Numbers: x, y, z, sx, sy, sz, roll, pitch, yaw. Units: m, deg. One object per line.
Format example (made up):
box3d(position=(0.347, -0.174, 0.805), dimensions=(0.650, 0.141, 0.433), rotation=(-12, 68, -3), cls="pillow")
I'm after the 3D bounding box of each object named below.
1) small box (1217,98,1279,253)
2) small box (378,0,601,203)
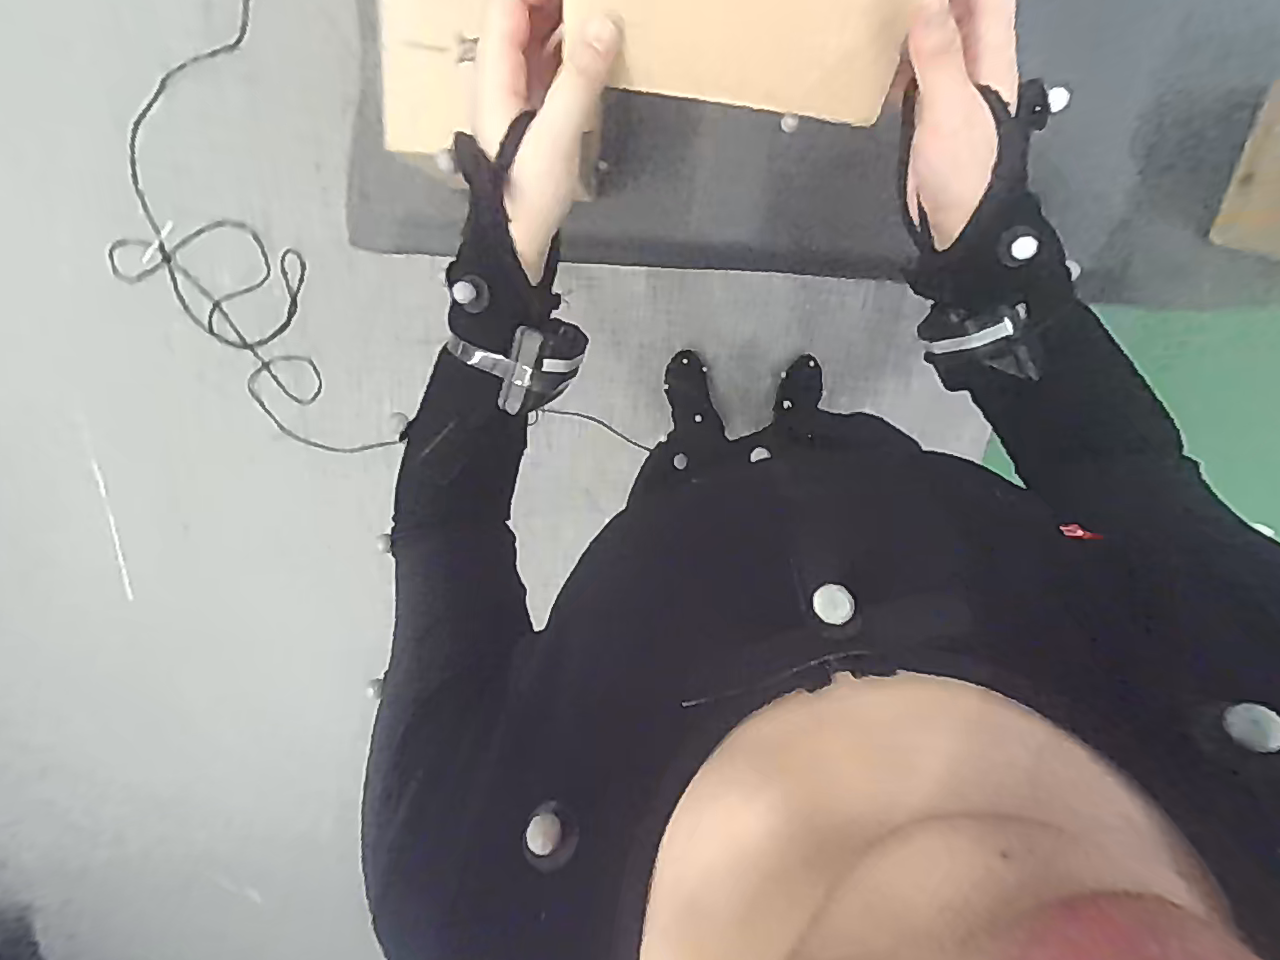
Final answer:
box3d(position=(0.734, -0.311, 0.513), dimensions=(0.179, 0.176, 0.168), rotation=(11, 103, 1), cls="small box")
box3d(position=(-0.138, -0.390, 0.549), dimensions=(0.179, 0.176, 0.168), rotation=(6, 108, 2), cls="small box")
